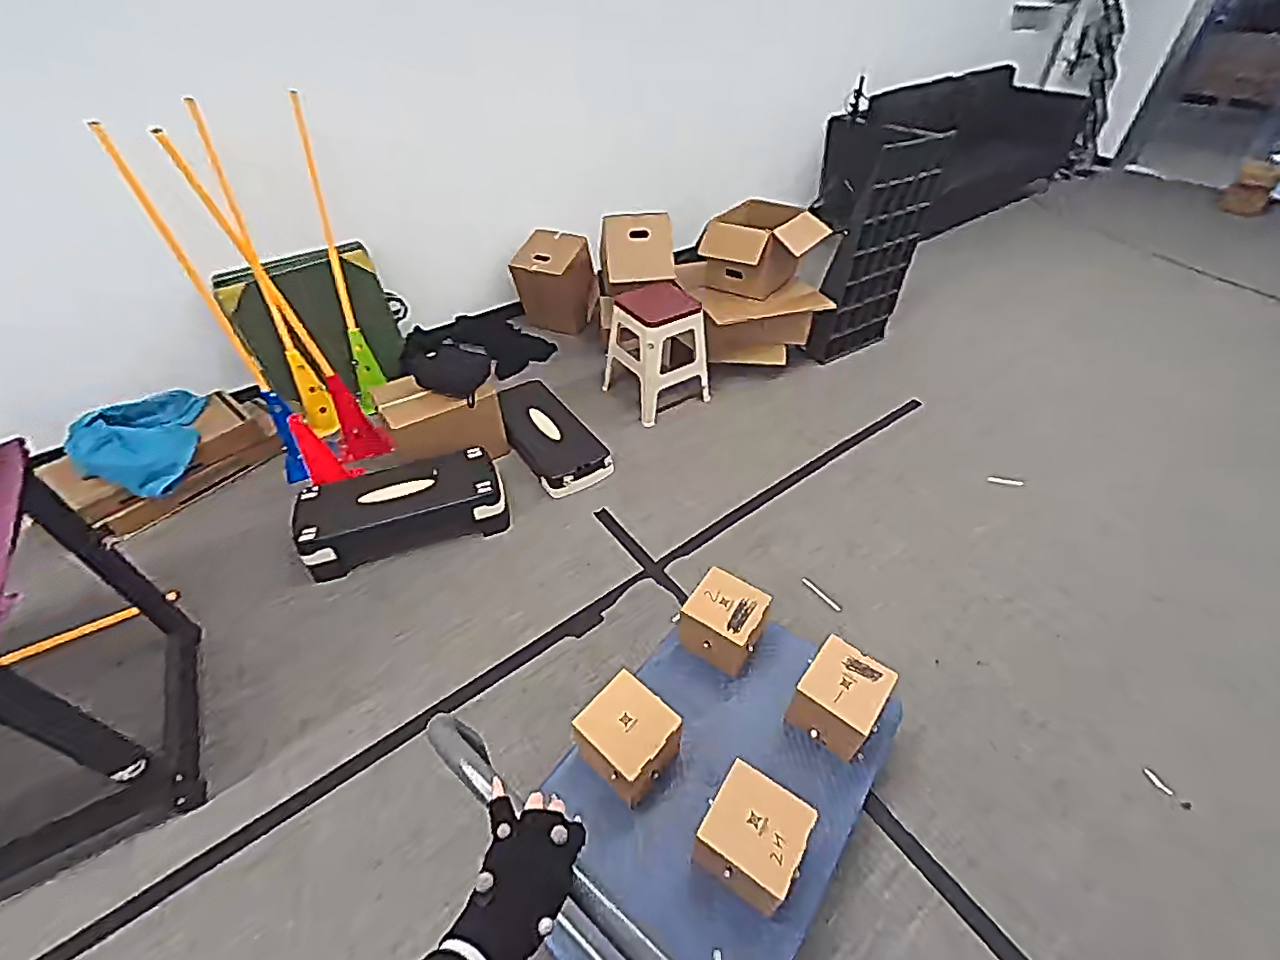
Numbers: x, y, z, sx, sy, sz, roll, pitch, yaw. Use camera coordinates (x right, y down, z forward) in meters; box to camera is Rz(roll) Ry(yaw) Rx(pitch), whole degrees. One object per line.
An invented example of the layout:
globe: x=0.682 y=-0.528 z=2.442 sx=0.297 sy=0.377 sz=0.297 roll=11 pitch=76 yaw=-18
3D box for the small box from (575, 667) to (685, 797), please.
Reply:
small box: x=-0.024 y=0.560 z=1.196 sx=0.179 sy=0.176 sz=0.168 roll=34 pitch=53 yaw=28

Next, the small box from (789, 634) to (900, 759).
small box: x=0.464 y=0.501 z=1.251 sx=0.168 sy=0.176 sz=0.179 roll=31 pitch=54 yaw=28

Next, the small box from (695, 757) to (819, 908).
small box: x=0.220 y=0.691 z=1.057 sx=0.179 sy=0.176 sz=0.168 roll=26 pitch=50 yaw=25
